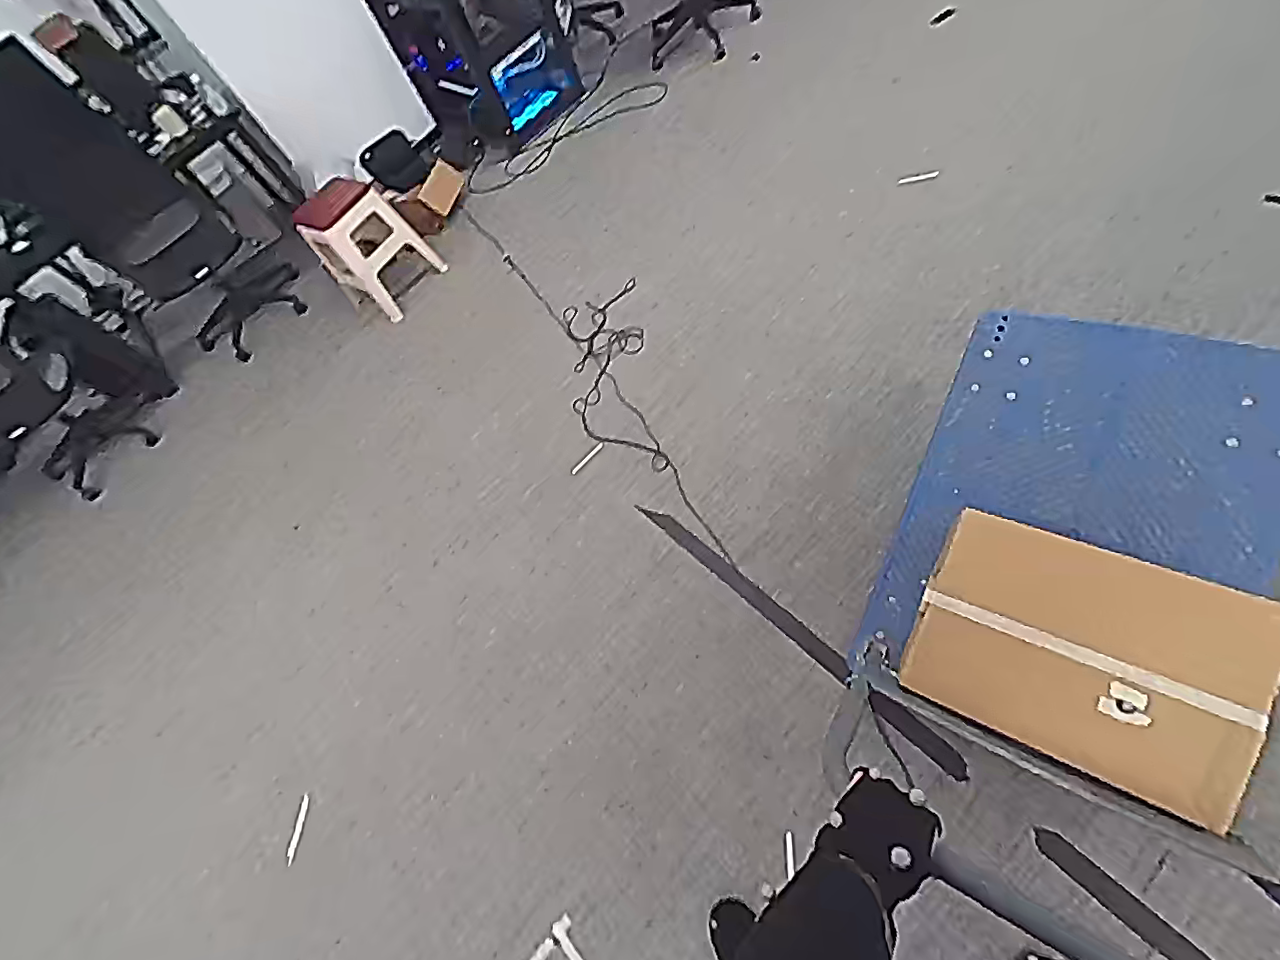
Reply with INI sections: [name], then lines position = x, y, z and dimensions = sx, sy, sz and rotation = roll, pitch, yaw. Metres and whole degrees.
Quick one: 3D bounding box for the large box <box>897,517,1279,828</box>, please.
[large box]
position = 0.704, 0.289, 0.937
dimensions = 0.408, 0.320, 0.320
rotation = 21, 89, 27
